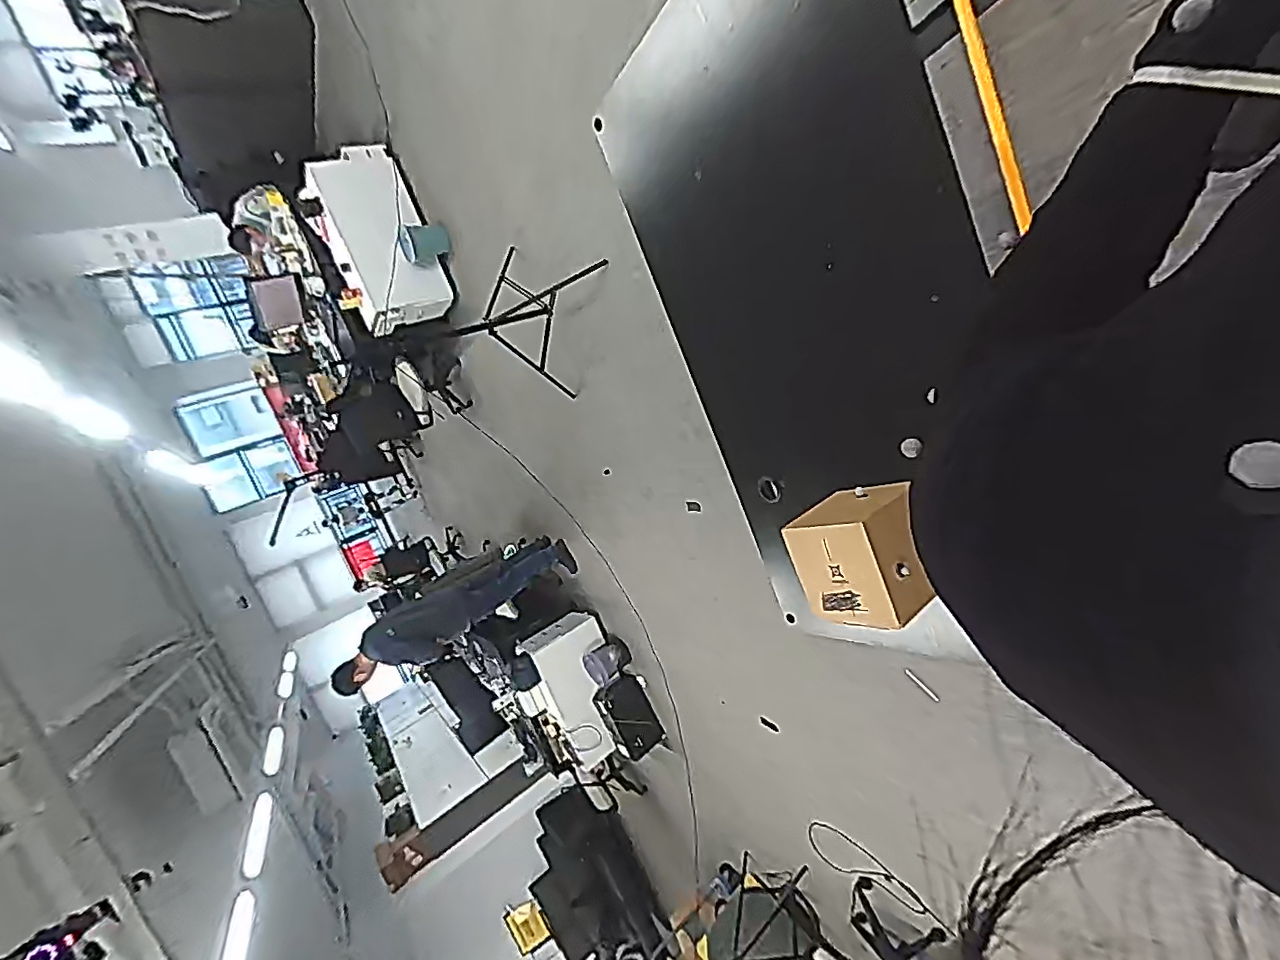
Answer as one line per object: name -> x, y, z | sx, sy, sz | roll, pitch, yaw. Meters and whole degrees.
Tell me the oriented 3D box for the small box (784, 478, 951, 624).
small box -> 0.381, 0.114, 0.901 | 0.168, 0.176, 0.179 | -14, 99, 59
